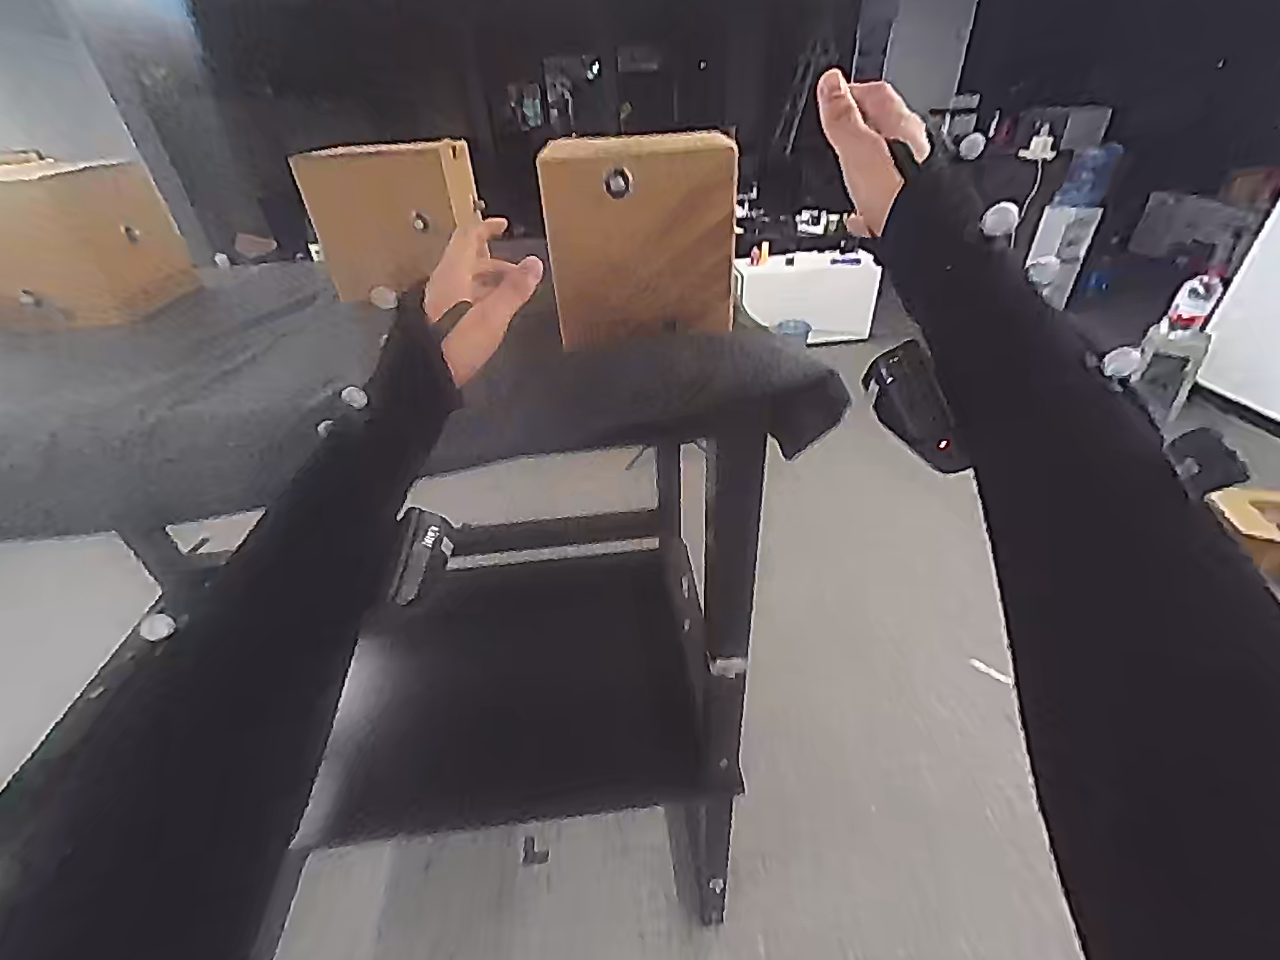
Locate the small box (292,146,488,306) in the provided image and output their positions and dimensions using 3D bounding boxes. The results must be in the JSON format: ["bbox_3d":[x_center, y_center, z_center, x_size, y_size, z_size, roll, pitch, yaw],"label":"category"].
[{"bbox_3d":[-0.316,-0.346,0.734,0.179,0.176,0.168,-4,34,-2],"label":"small box"}]

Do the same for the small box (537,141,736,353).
[{"bbox_3d":[-0.001,-0.240,0.551,0.168,0.176,0.179,-4,34,1],"label":"small box"}]
